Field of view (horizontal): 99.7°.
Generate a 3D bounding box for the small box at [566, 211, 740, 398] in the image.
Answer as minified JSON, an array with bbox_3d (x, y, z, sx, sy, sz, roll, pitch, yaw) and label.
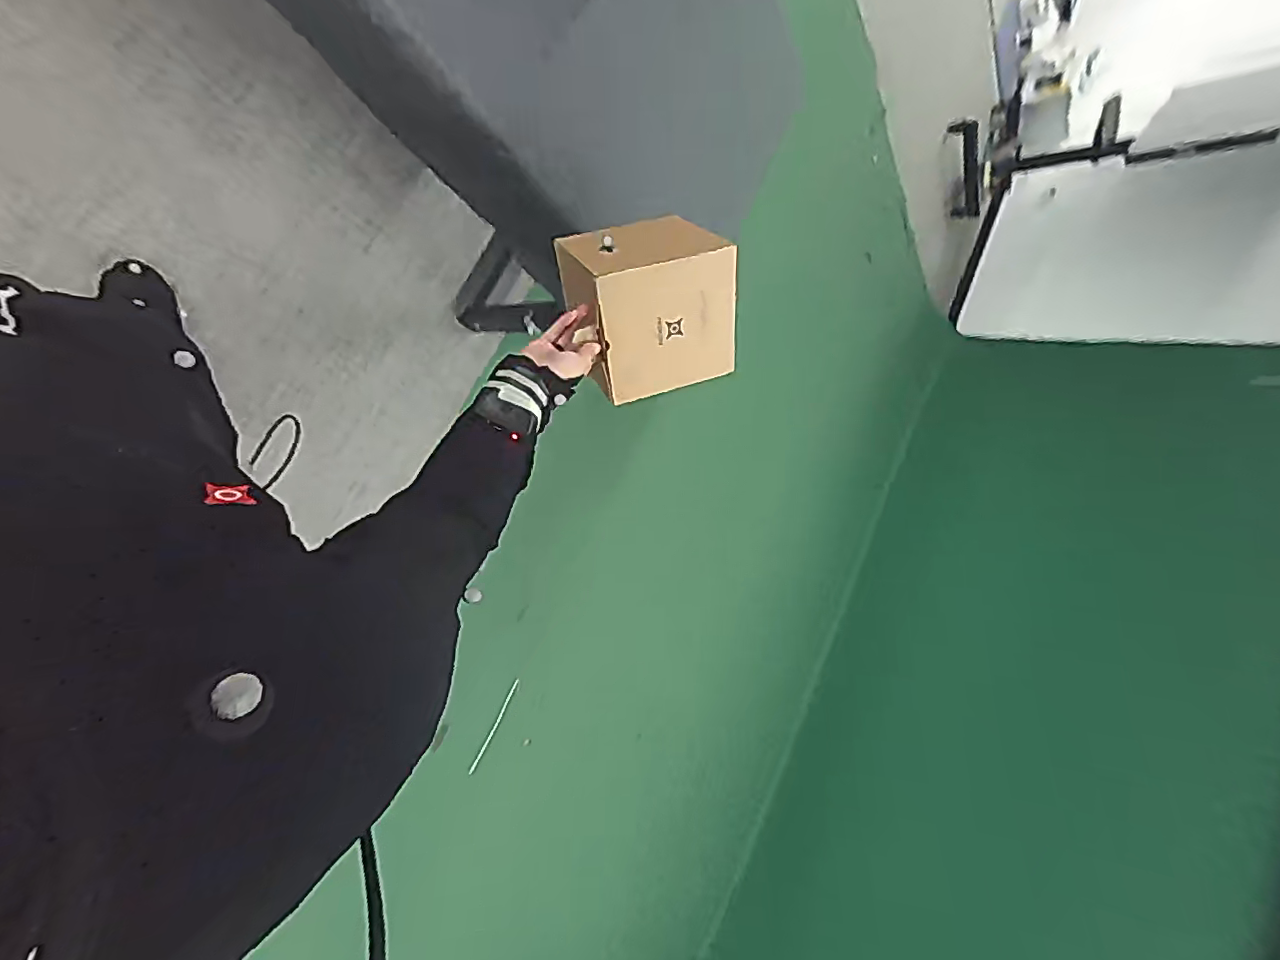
[{"bbox_3d":[0.011,-0.235,0.705,0.179,0.176,0.168,-19,132,-14],"label":"small box"}]
